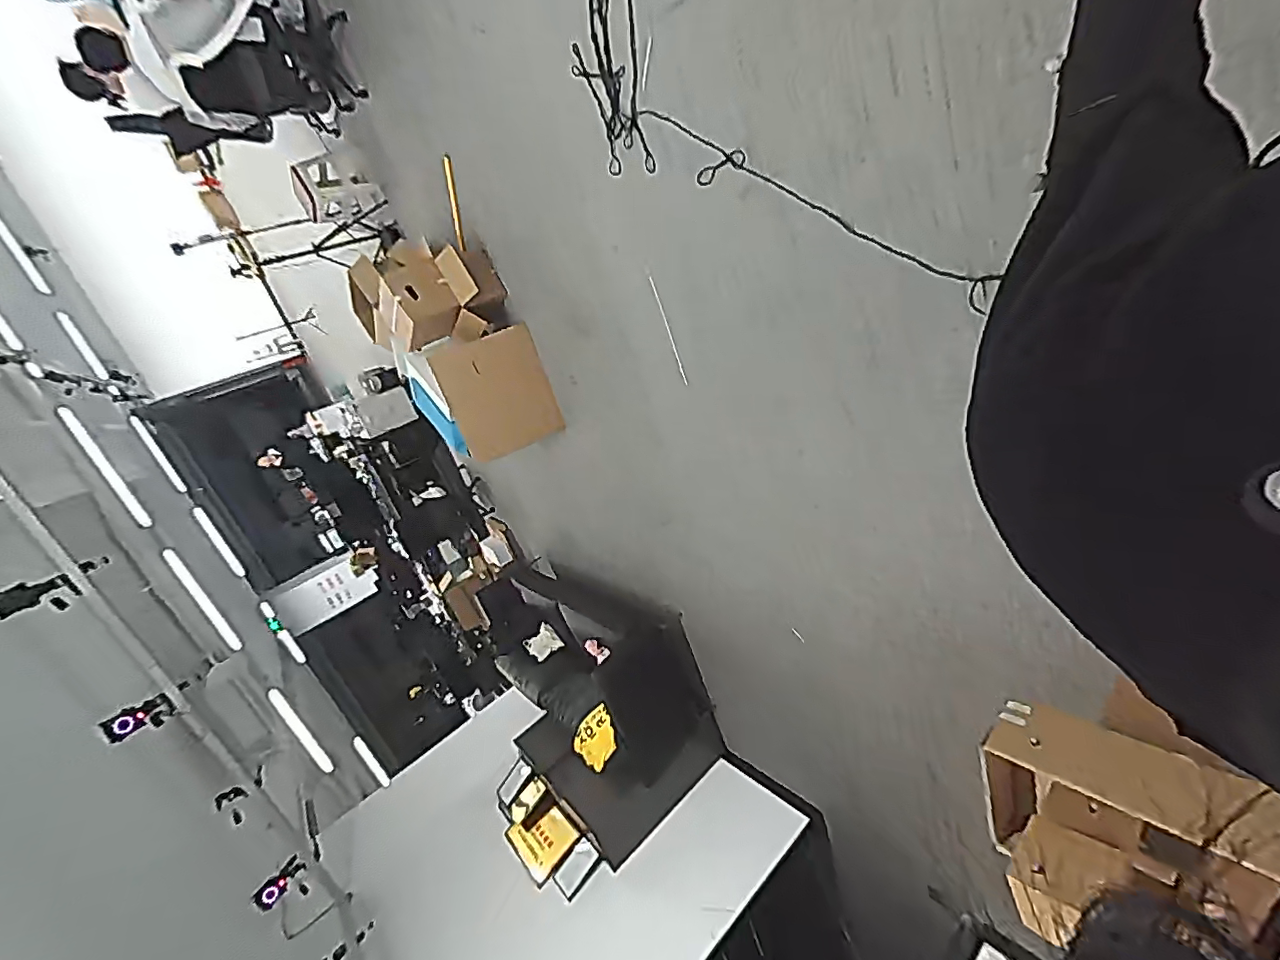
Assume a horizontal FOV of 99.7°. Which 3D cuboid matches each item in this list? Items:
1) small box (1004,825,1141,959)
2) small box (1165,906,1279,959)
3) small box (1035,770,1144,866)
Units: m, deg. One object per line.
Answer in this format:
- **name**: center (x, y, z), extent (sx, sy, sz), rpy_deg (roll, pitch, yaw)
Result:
- **small box**: center (0.916, 0.880, 1.146), extent (0.179, 0.176, 0.168), rpy_deg (-4, 115, 55)
- **small box**: center (1.077, 0.923, 0.953), extent (0.168, 0.176, 0.179), rpy_deg (-19, 100, 58)
- **small box**: center (1.031, 0.823, 1.255), extent (0.168, 0.176, 0.179), rpy_deg (20, 133, 45)
